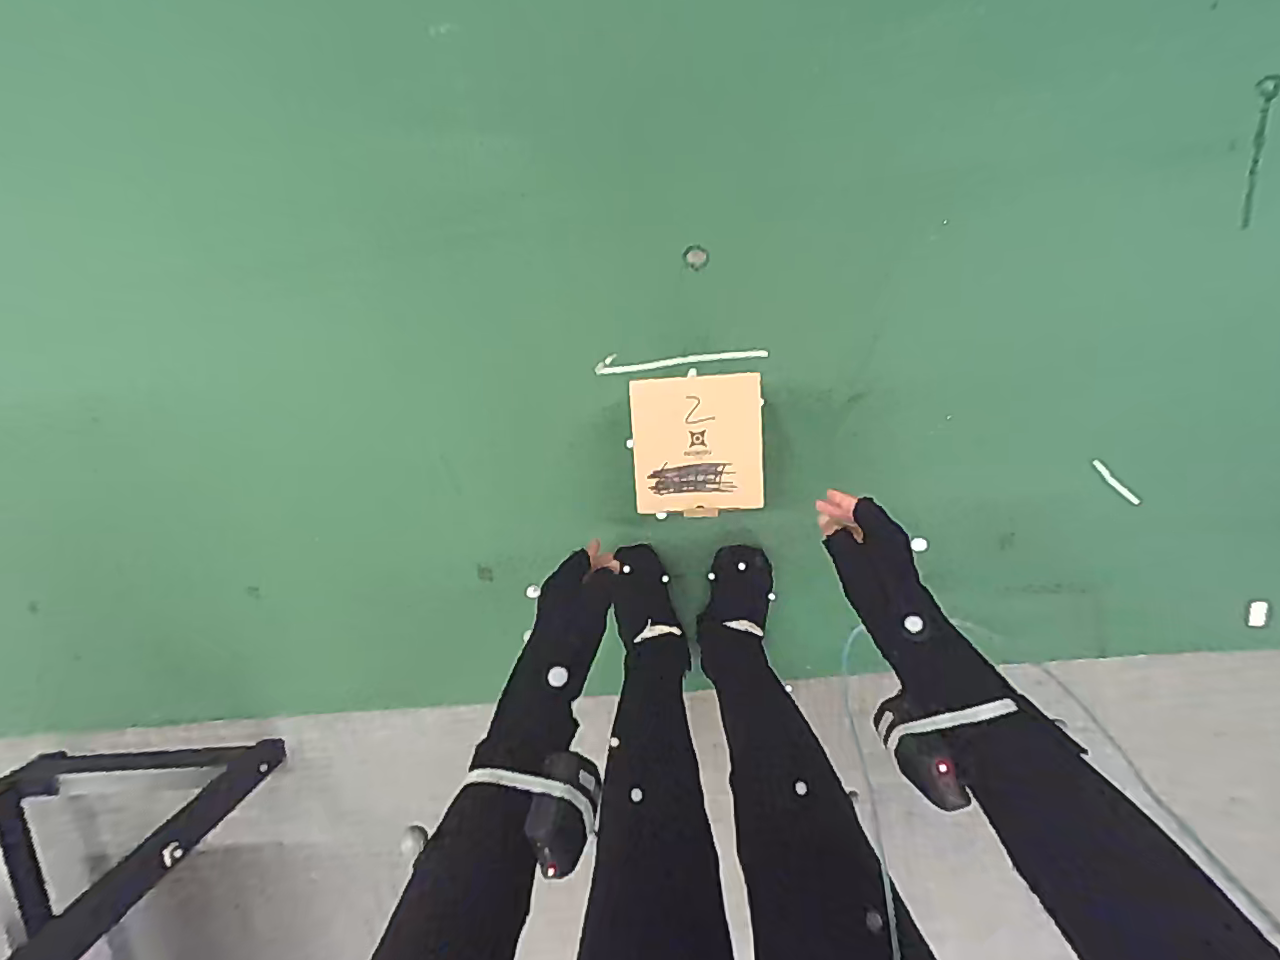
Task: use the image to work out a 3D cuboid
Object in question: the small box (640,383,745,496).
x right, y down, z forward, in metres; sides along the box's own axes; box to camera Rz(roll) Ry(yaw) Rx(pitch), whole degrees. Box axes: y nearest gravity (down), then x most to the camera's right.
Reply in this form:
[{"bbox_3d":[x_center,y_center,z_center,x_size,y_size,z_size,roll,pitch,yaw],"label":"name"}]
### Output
[{"bbox_3d":[0.090,-0.076,0.935,0.168,0.176,0.179,-3,98,4],"label":"small box"}]
